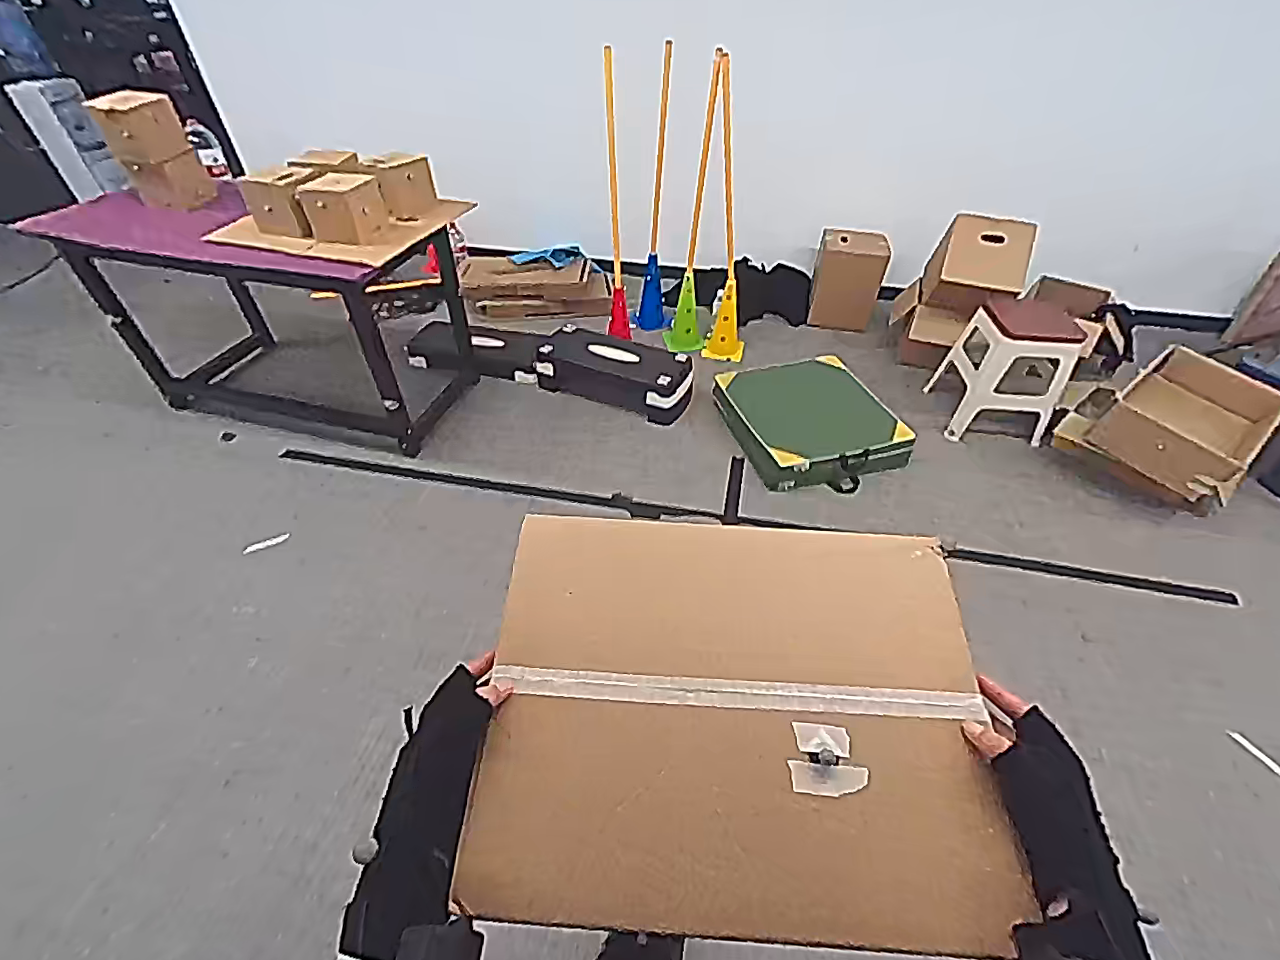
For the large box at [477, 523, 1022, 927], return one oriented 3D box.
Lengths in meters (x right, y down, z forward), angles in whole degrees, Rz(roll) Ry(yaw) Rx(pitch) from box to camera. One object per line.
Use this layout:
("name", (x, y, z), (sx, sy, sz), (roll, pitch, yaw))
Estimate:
("large box", (0.081, 0.261, 0.592), (0.408, 0.320, 0.320), (3, 58, 1))
